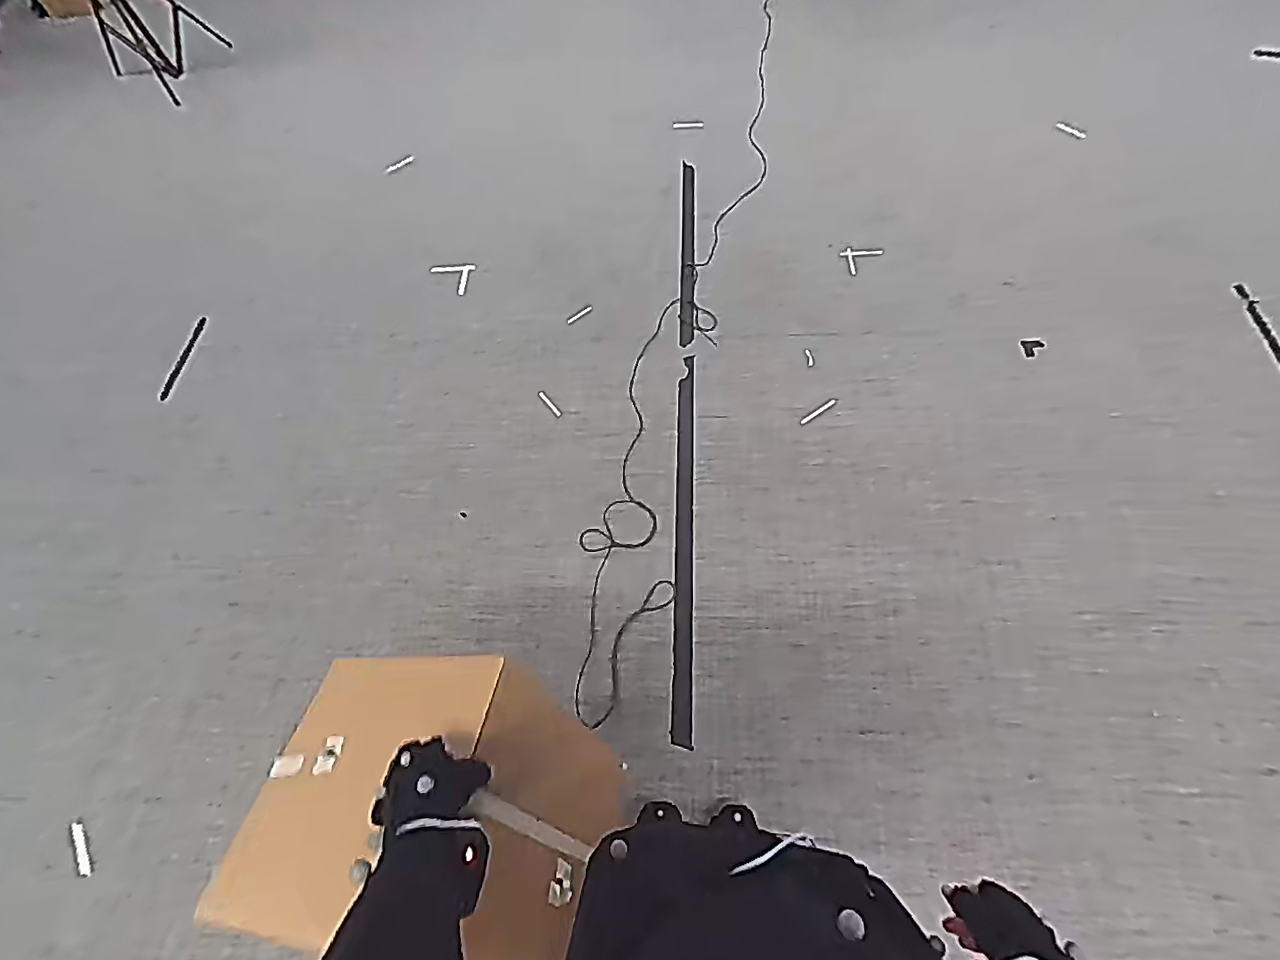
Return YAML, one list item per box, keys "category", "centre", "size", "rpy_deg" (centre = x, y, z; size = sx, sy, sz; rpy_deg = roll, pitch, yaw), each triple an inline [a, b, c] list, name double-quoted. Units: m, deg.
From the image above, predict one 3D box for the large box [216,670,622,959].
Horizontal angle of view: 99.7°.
- category: "large box"
  centre: [-0.262, 0.505, 0.788]
  size: [0.320, 0.408, 0.320]
  rpy_deg: [-6, 45, 21]
